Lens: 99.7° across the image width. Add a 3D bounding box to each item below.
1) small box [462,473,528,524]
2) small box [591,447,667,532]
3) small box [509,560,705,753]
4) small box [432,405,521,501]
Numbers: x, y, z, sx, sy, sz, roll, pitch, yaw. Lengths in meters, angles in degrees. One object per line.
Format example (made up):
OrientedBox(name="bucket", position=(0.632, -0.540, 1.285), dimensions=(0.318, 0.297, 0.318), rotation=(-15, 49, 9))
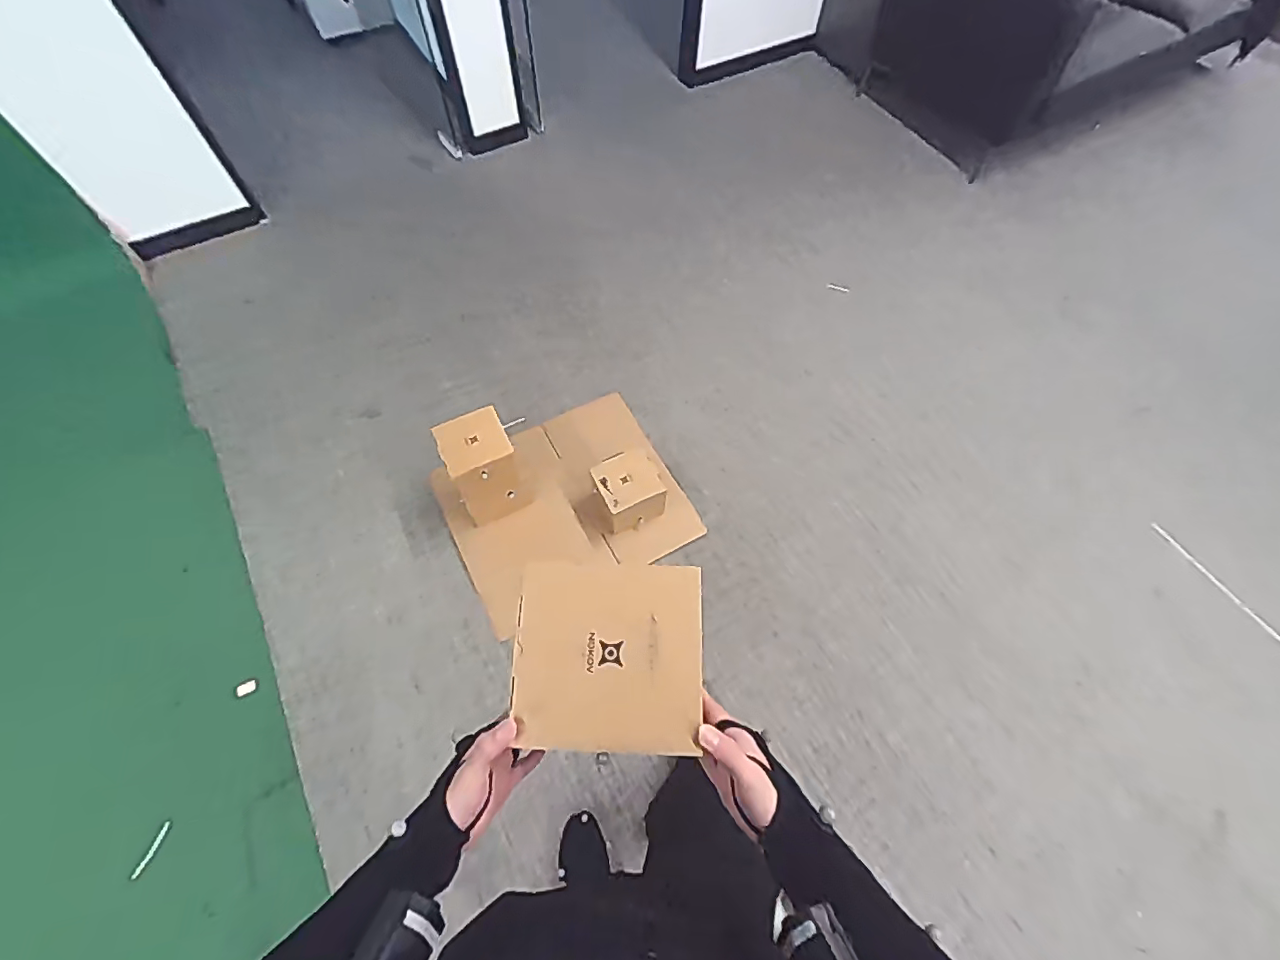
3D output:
OrientedBox(name="small box", position=(-0.448, 0.006, 1.627), dimensions=(0.179, 0.176, 0.168), rotation=(-25, 66, -13))
OrientedBox(name="small box", position=(-0.036, 0.032, 1.629), dimensions=(0.179, 0.176, 0.168), rotation=(-23, 66, -13))
OrientedBox(name="small box", position=(-0.021, 0.184, 0.573), dimensions=(0.179, 0.176, 0.168), rotation=(1, 71, 4))
OrientedBox(name="small box", position=(-0.439, -0.069, 1.484), dimensions=(0.179, 0.176, 0.168), rotation=(-25, 67, -13))
